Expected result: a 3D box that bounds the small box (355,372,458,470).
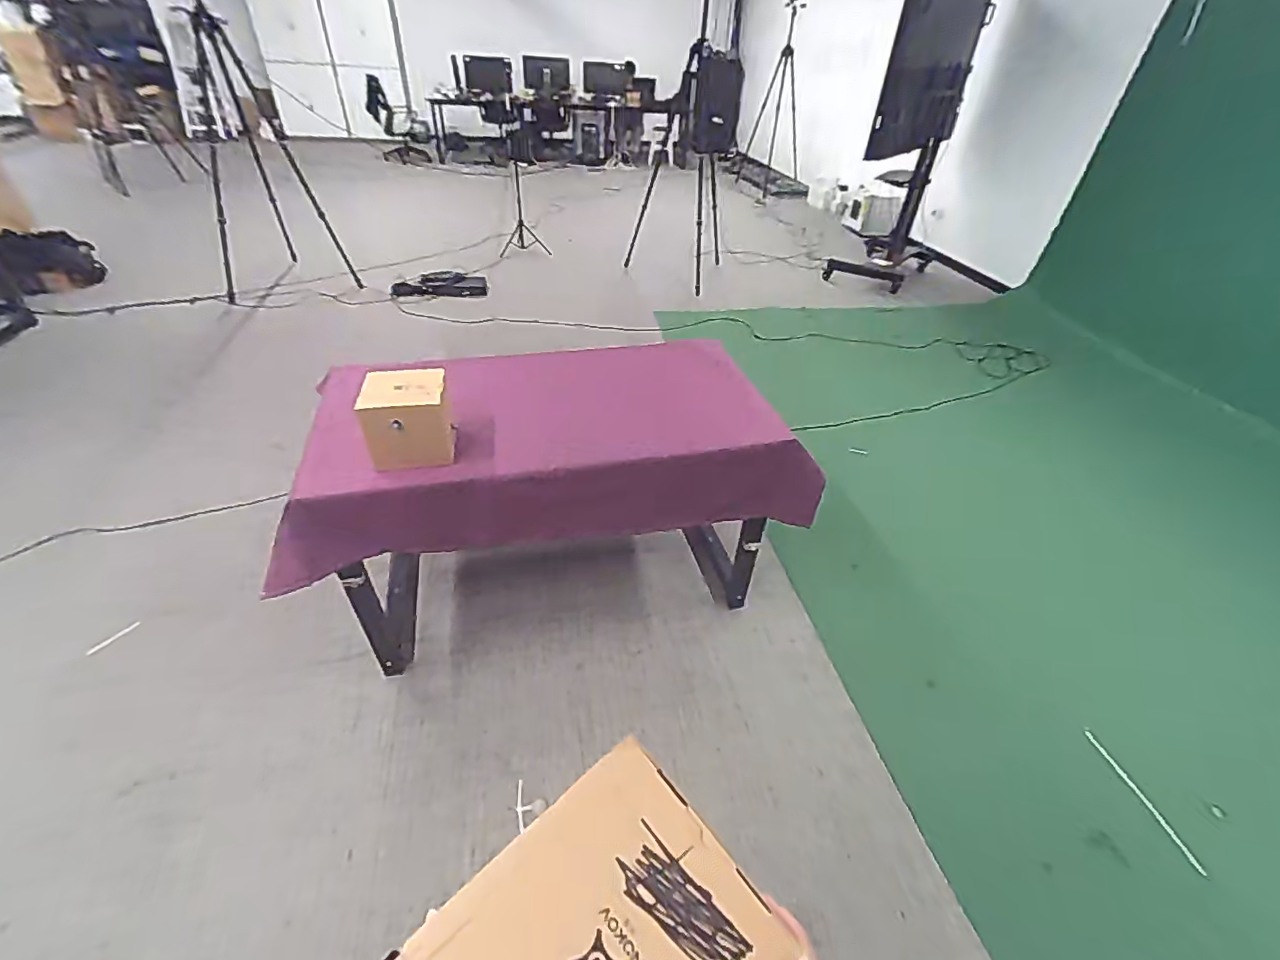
[{"bbox_3d":[-0.535,-0.137,1.266,0.179,0.176,0.168,-5,40,-10],"label":"small box"}]
